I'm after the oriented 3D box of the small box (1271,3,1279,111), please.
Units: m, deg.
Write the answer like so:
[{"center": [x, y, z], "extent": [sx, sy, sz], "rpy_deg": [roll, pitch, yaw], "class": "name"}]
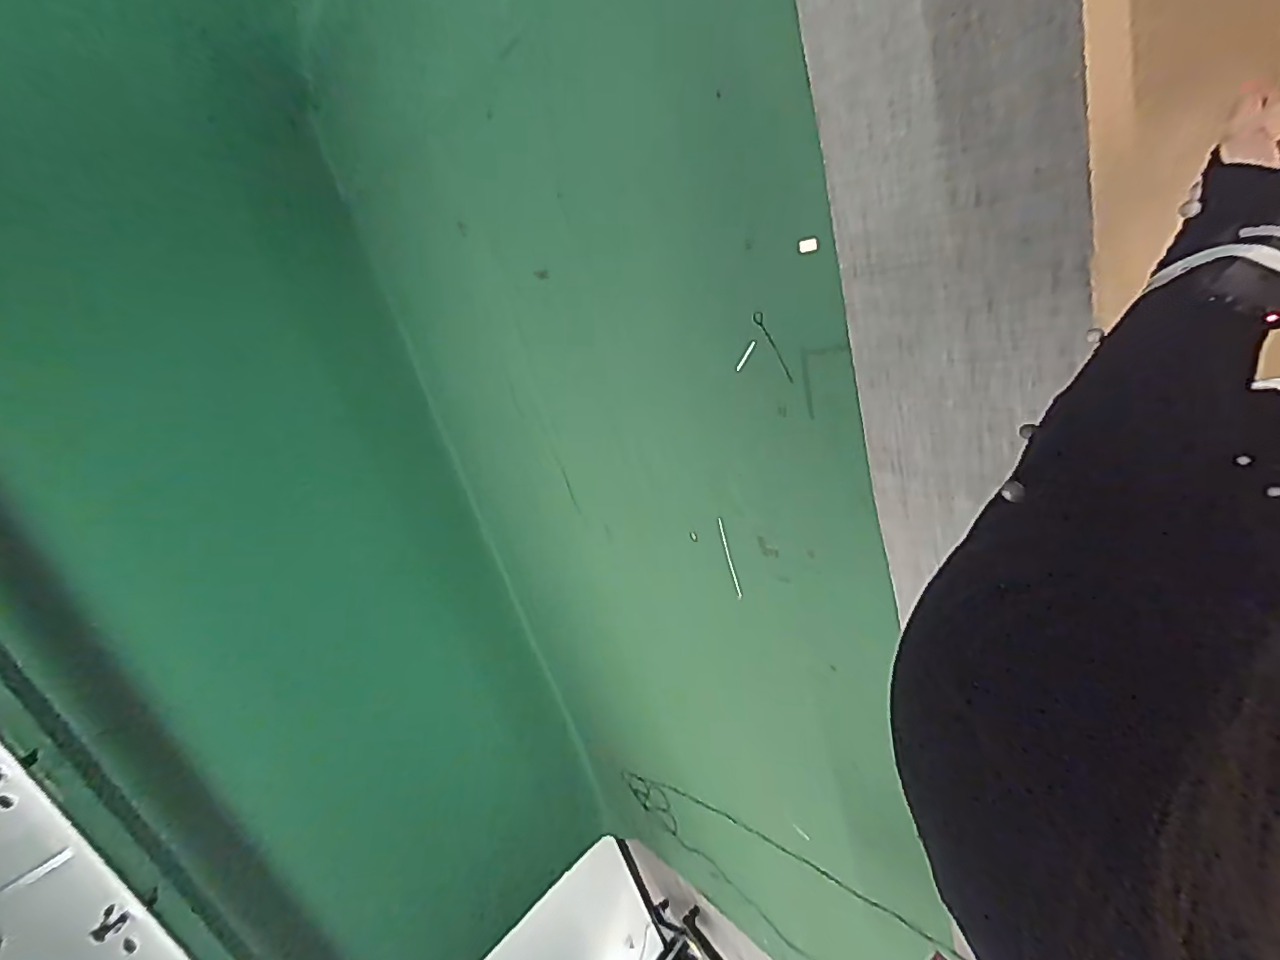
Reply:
[{"center": [0.575, -0.383, 0.372], "extent": [0.168, 0.176, 0.179], "rpy_deg": [7, 118, 53], "class": "small box"}]
